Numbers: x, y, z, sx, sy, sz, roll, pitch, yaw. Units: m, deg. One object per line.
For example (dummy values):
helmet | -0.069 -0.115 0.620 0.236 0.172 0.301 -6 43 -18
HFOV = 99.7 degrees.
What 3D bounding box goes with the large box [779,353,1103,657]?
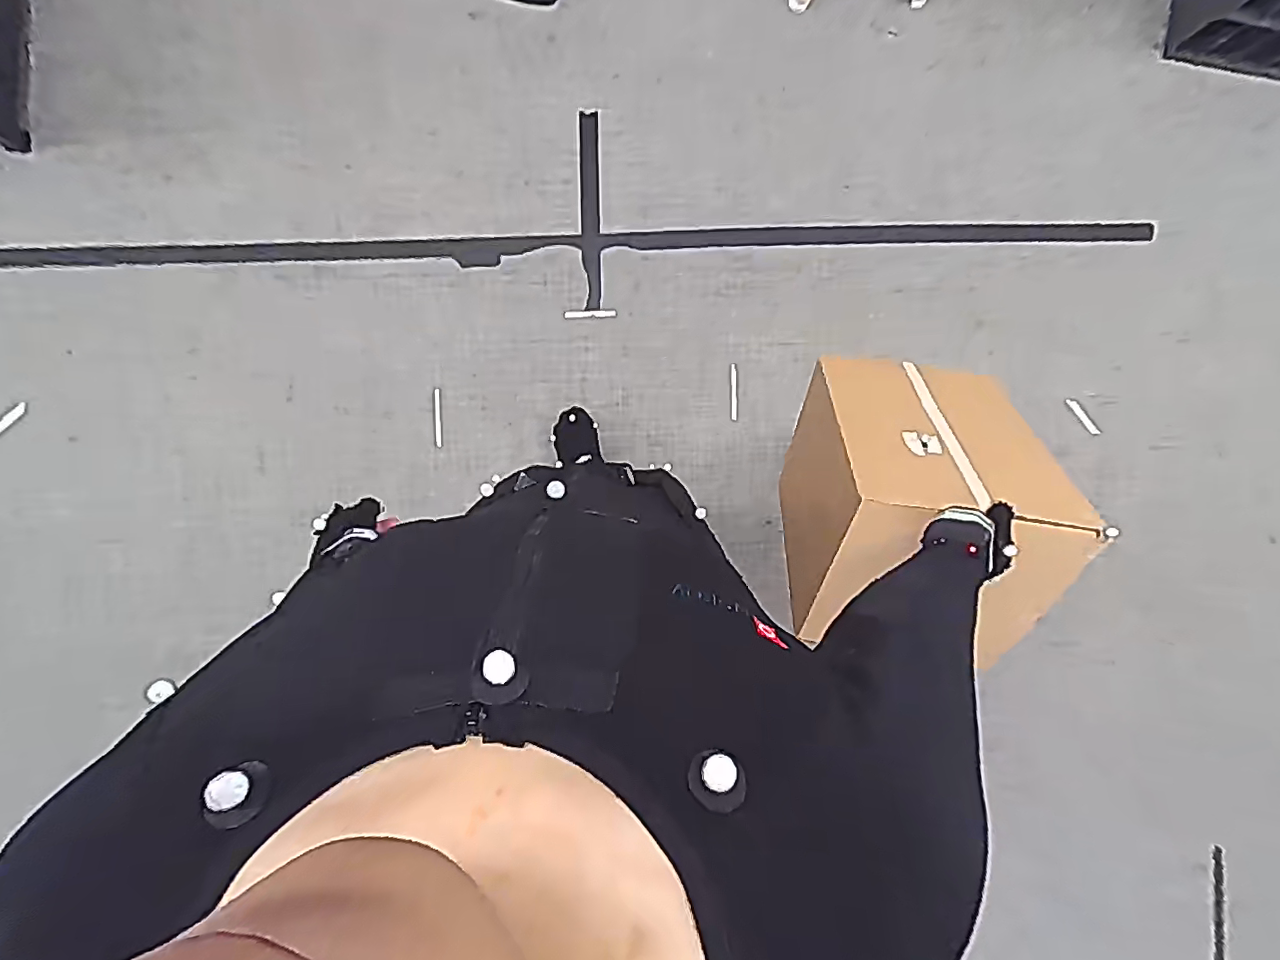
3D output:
large box | 0.446 0.031 0.937 0.320 0.408 0.320 8 132 2
